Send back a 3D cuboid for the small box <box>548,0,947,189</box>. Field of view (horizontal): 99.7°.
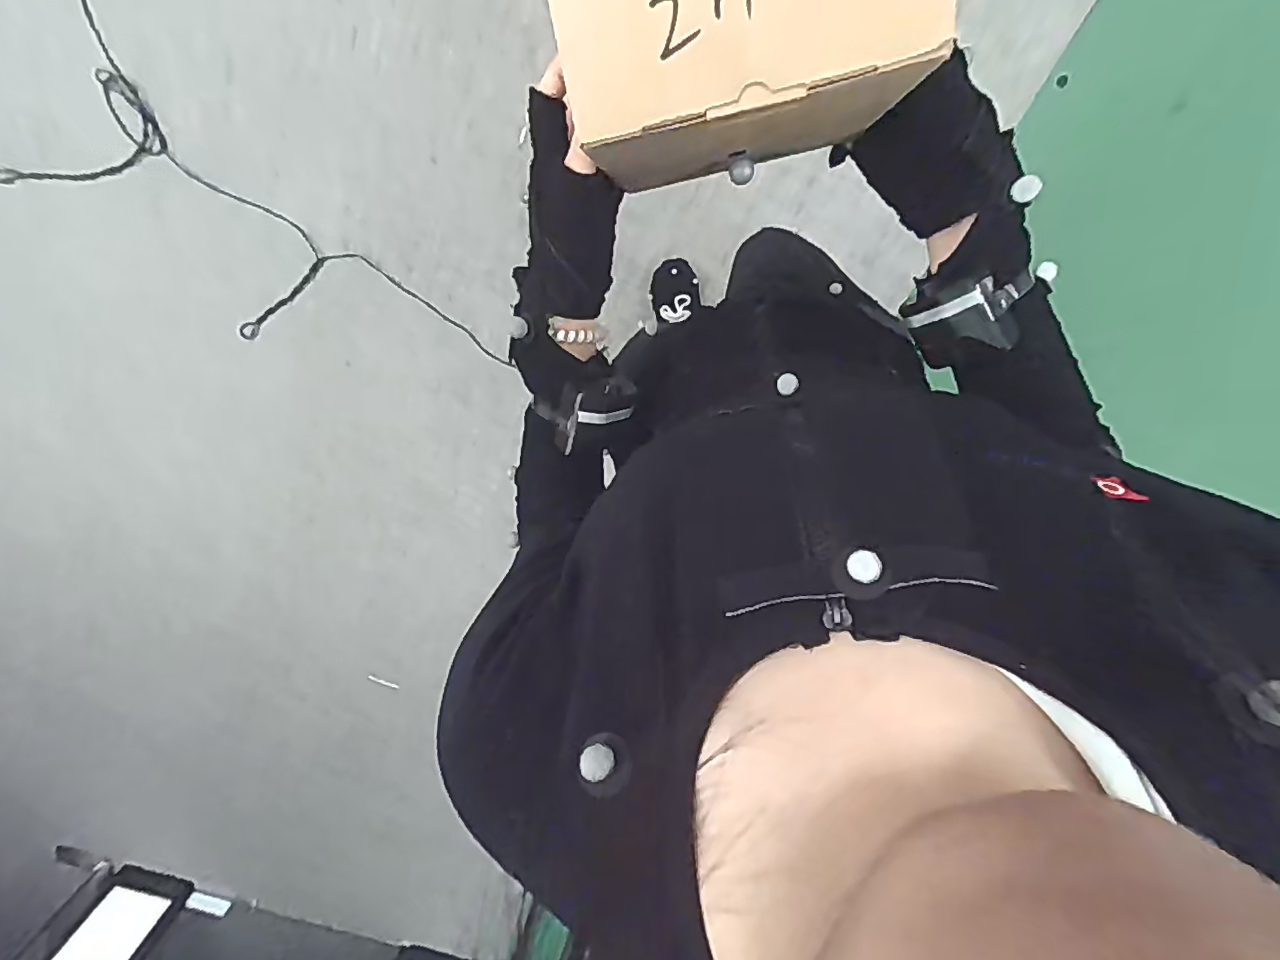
[{"bbox_3d":[0.043,-0.277,0.286,0.168,0.176,0.179,-8,110,11],"label":"small box"}]
